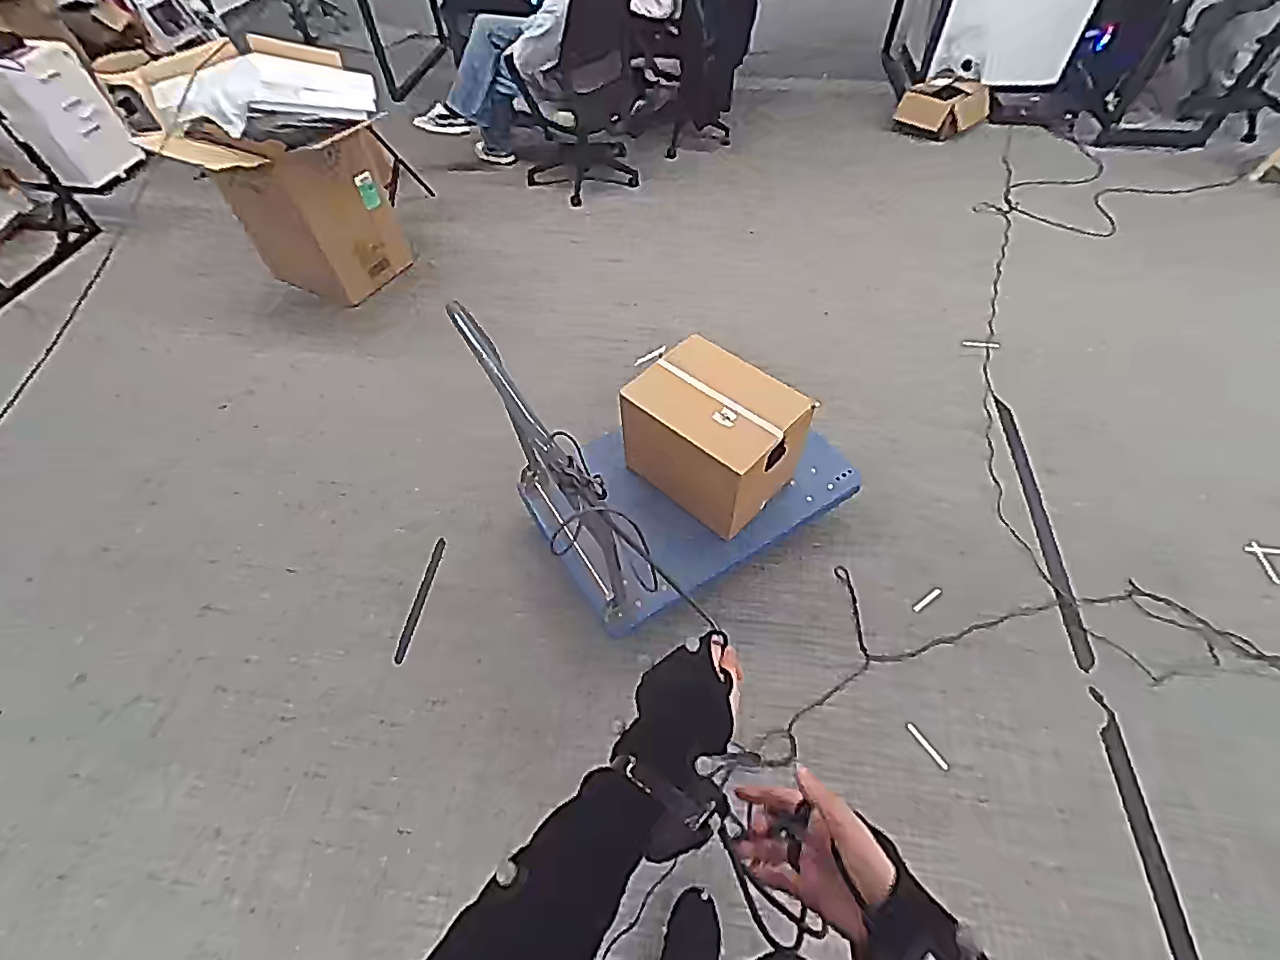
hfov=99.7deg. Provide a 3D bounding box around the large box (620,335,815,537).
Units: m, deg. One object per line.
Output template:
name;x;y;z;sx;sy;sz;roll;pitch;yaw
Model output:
large box;0.193;-0.121;1.486;0.408;0.320;0.320;37;64;24
